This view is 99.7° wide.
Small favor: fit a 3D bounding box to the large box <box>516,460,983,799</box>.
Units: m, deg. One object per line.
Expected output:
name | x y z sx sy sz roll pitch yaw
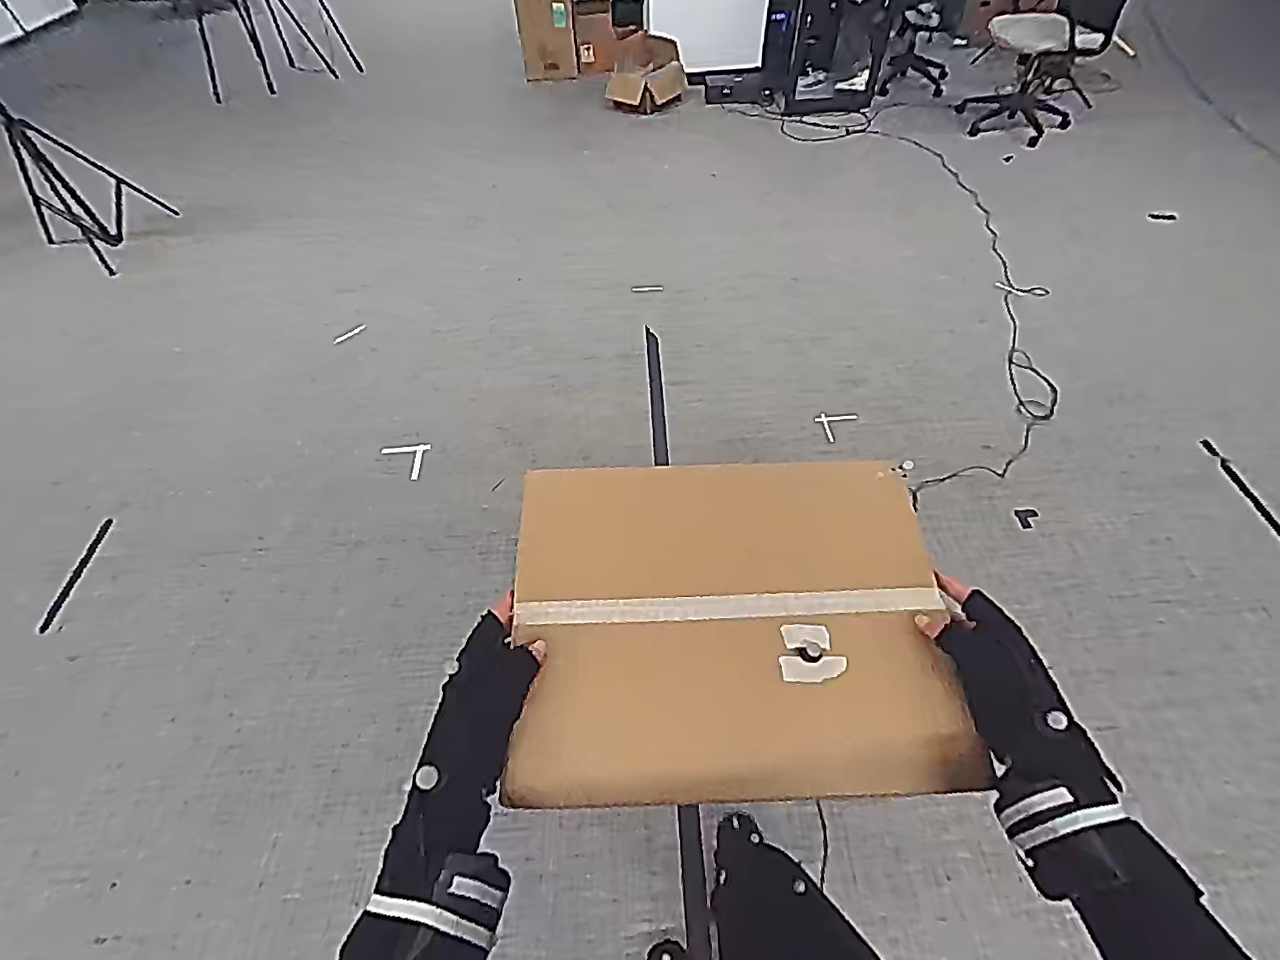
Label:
large box | 0.084 0.192 0.651 0.408 0.320 0.320 -2 61 -1
